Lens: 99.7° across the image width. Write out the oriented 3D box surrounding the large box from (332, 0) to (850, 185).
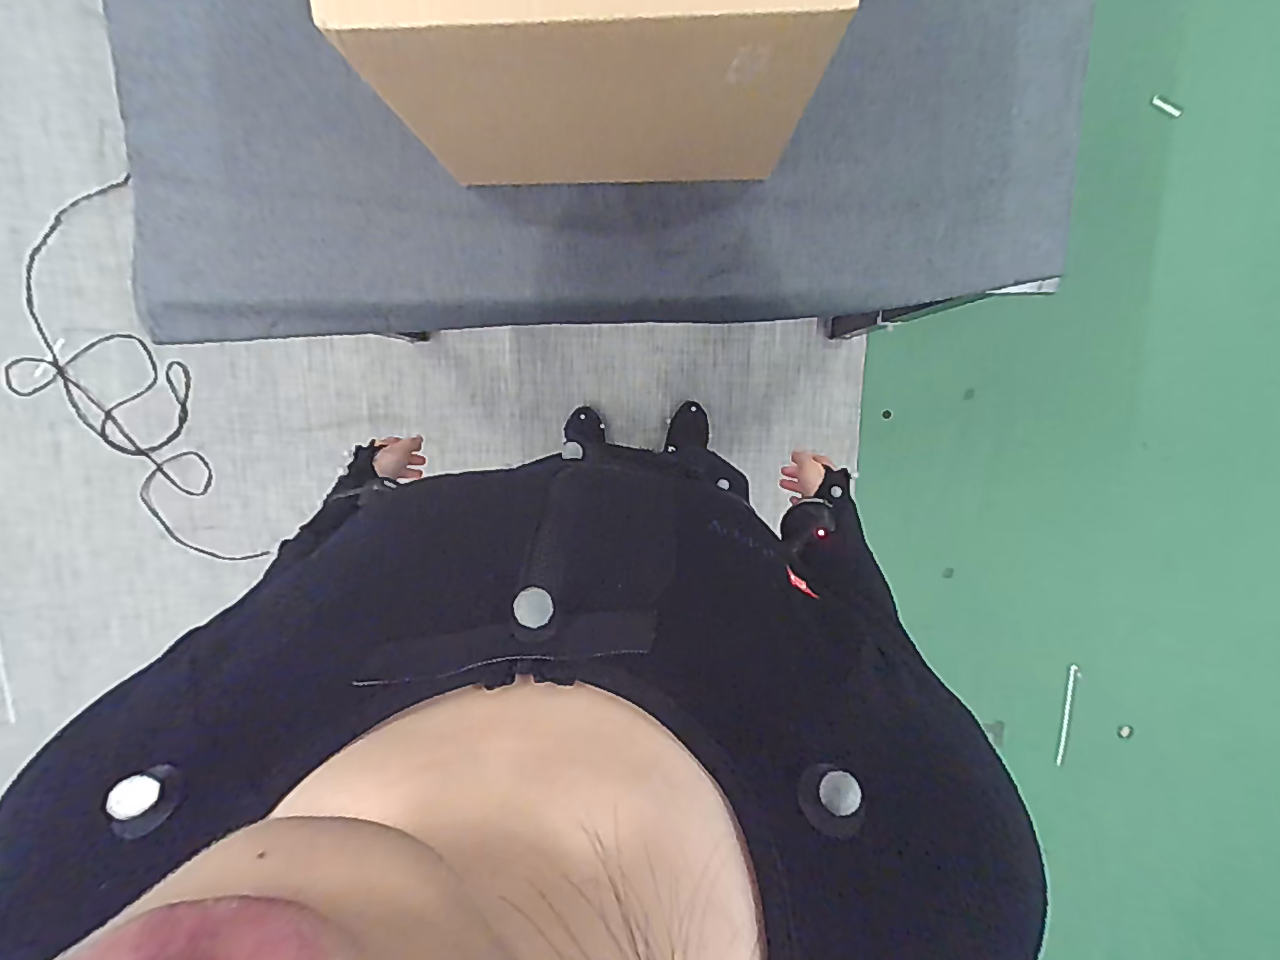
[{"bbox_3d":[-0.042,-0.520,0.536,0.408,0.320,0.320,-1,100,1],"label":"large box"}]
